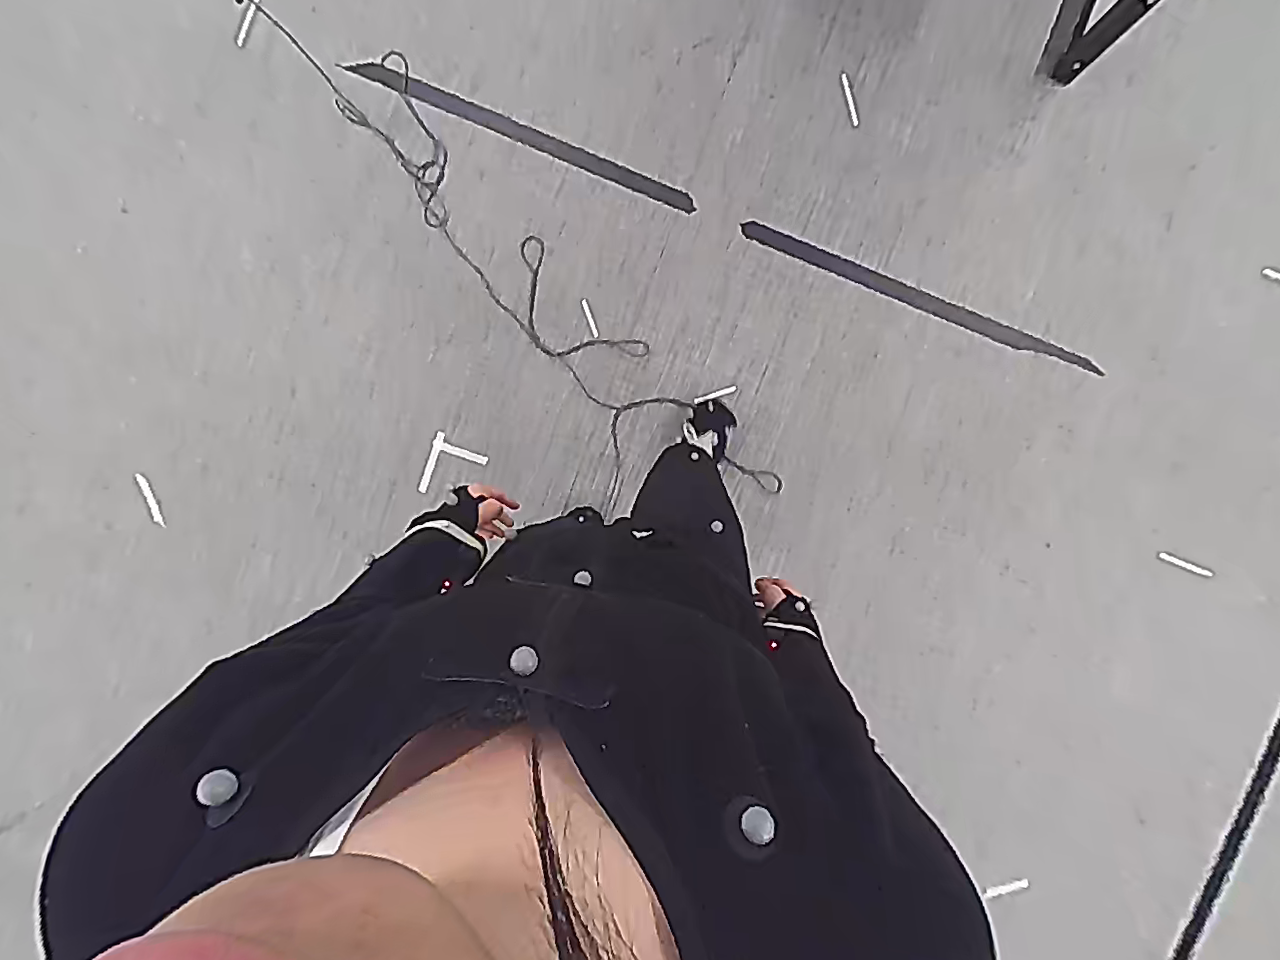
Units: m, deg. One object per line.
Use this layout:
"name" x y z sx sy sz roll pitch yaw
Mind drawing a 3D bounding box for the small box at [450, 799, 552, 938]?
"small box" -0.309 0.882 1.244 0.168 0.176 0.179 17 92 -1

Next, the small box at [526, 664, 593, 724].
"small box" -0.225 0.607 1.402 0.168 0.176 0.179 20 92 0

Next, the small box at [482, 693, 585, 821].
"small box" -0.234 0.621 1.238 0.168 0.176 0.179 23 92 0
